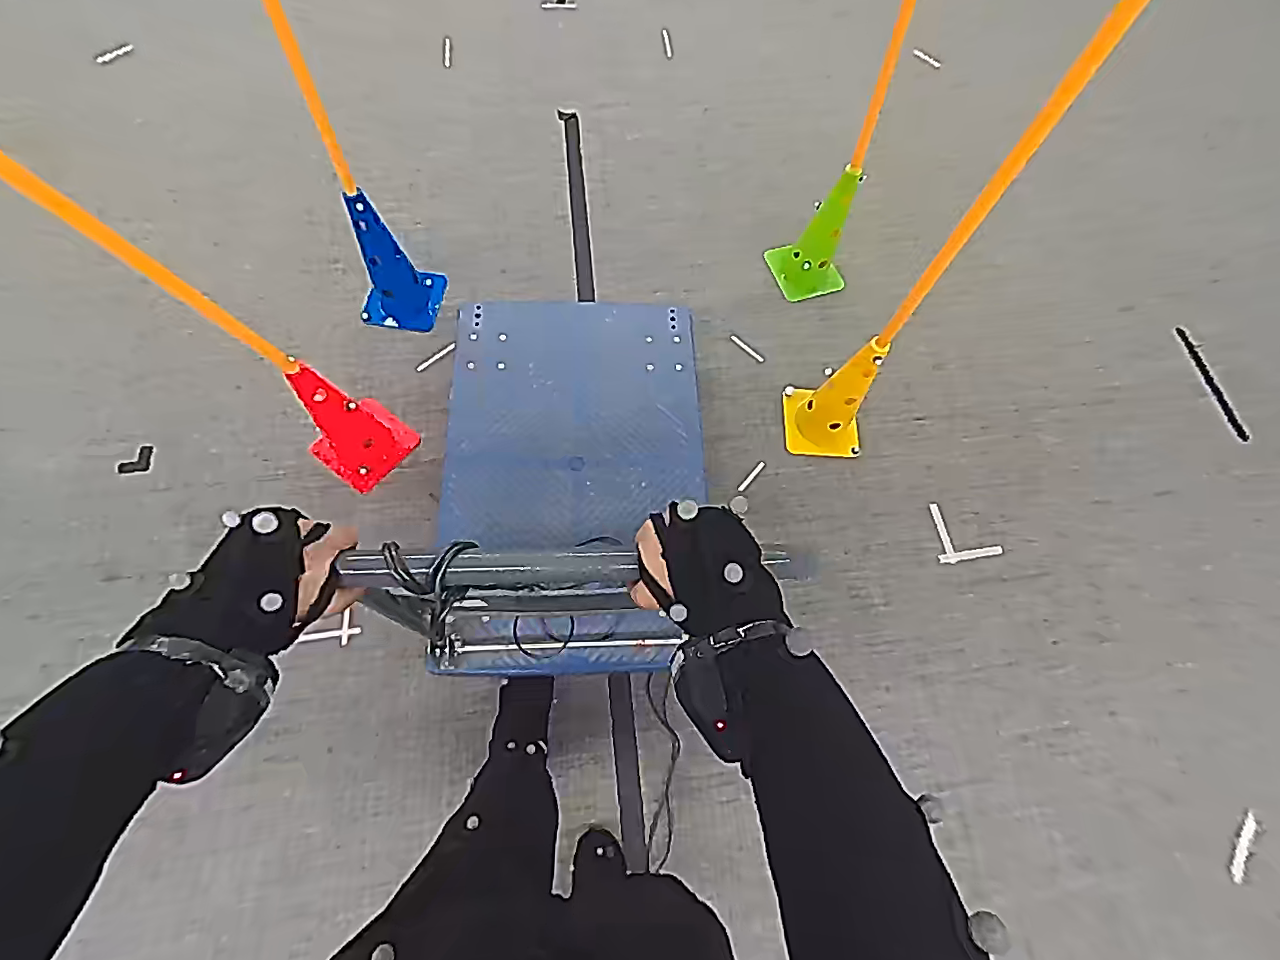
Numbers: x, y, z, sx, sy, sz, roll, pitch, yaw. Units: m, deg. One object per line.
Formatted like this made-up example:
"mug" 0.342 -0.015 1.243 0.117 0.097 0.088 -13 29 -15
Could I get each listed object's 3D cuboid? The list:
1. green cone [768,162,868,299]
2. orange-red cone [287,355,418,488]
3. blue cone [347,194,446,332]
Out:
"green cone" 0.523 -0.709 1.494 0.200 0.368 0.202 -18 72 -10
"orange-red cone" -0.672 -0.160 1.196 0.198 0.360 0.199 38 69 10
"blue cone" -0.644 -0.566 1.373 0.193 0.380 0.192 9 69 0
